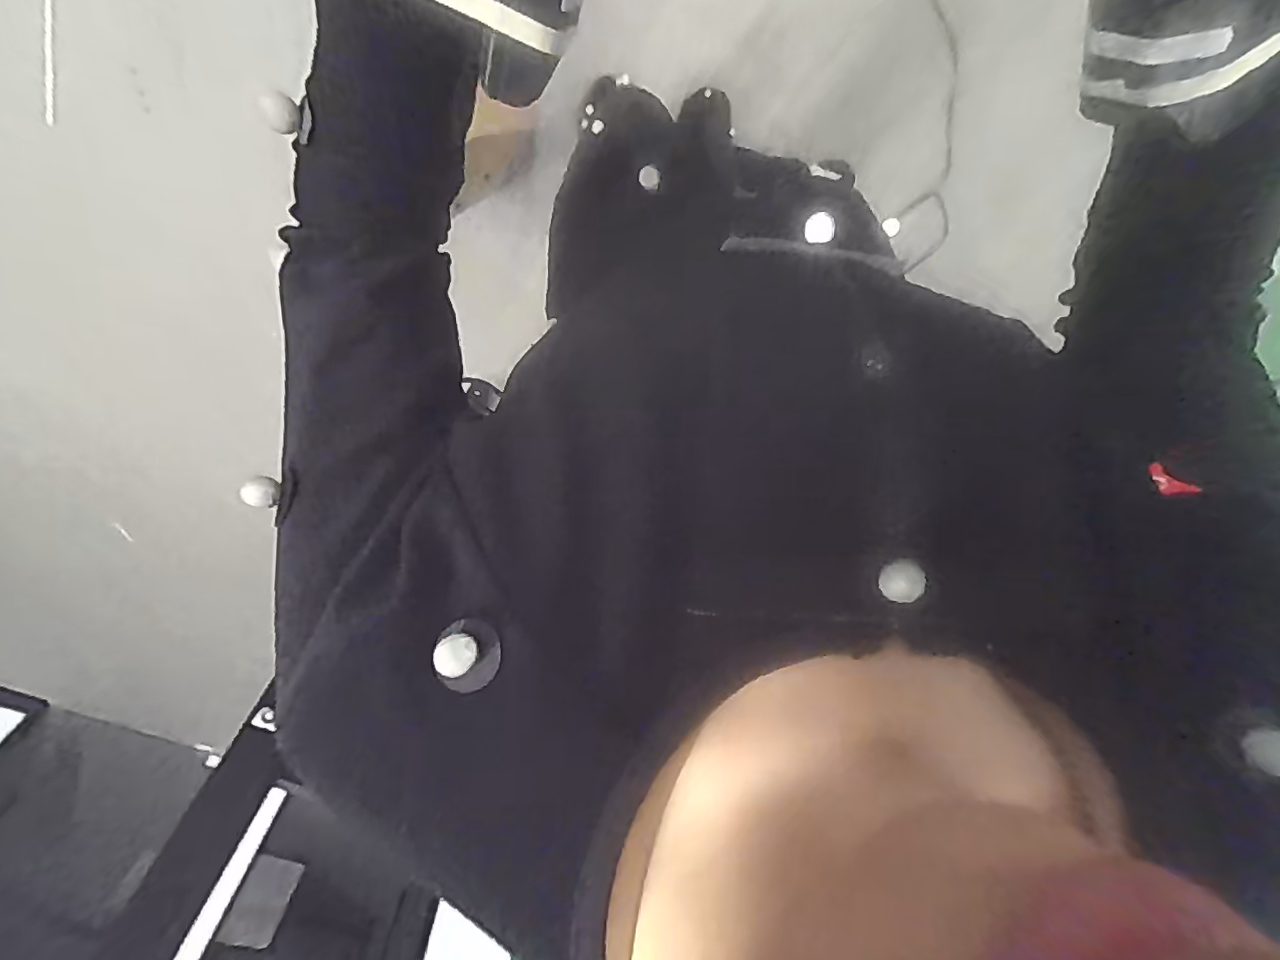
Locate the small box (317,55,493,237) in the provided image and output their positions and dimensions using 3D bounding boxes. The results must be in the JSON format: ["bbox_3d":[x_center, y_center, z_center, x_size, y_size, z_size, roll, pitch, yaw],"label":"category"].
[{"bbox_3d":[-0.355,-0.521,0.846,0.179,0.176,0.168,32,121,-18],"label":"small box"}]

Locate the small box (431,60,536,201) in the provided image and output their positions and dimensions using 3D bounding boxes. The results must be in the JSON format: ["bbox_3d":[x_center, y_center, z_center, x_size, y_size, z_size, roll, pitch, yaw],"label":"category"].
[{"bbox_3d":[-0.340,-0.713,1.110,0.179,0.176,0.168,34,121,-20],"label":"small box"}]
